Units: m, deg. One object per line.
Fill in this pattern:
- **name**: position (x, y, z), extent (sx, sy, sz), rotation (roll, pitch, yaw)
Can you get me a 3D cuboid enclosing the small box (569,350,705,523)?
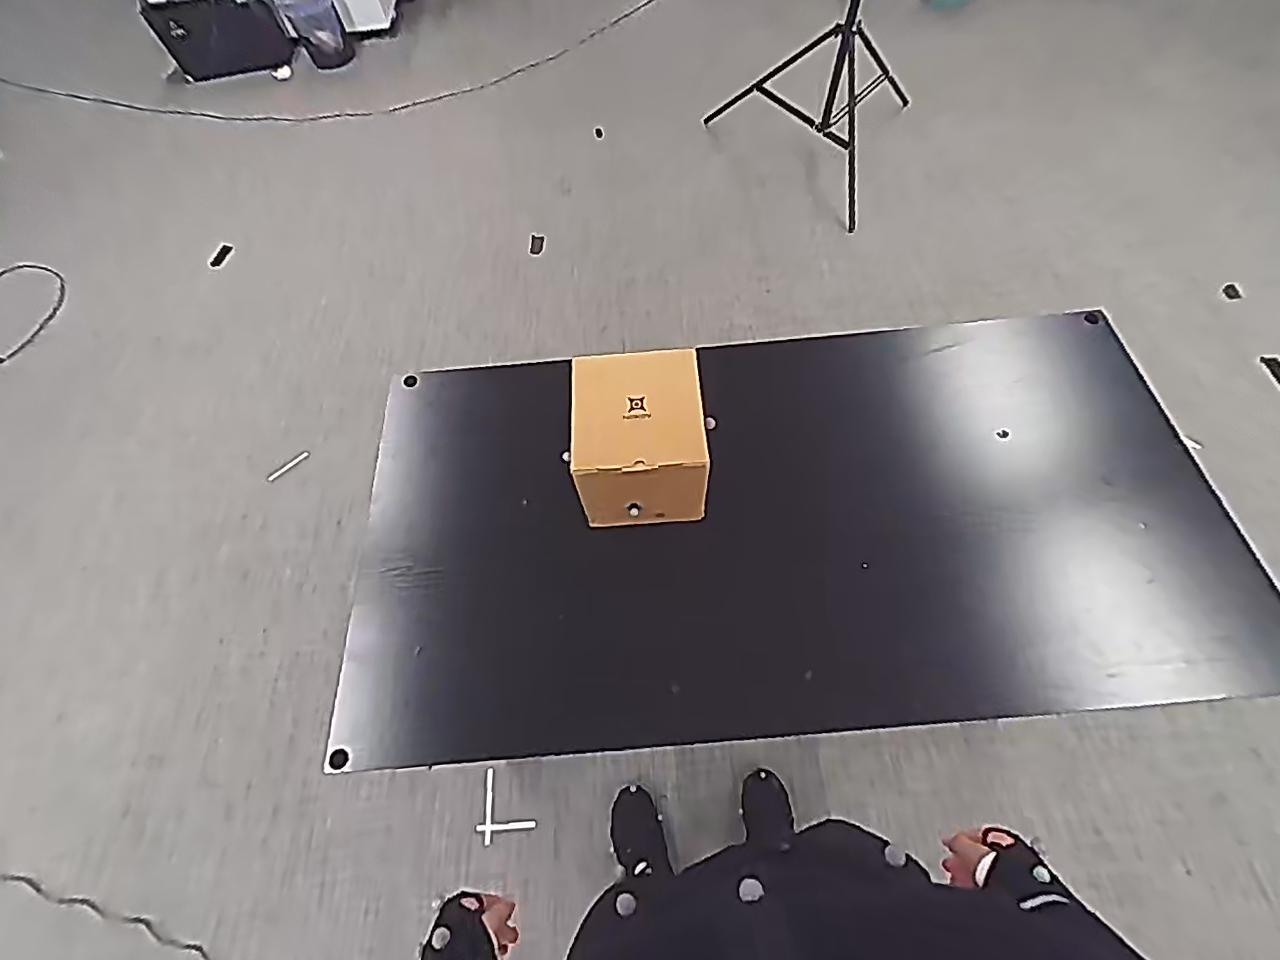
- **small box**: position (-0.004, -0.055, 0.751), extent (0.168, 0.176, 0.179), rotation (-4, 63, 1)
